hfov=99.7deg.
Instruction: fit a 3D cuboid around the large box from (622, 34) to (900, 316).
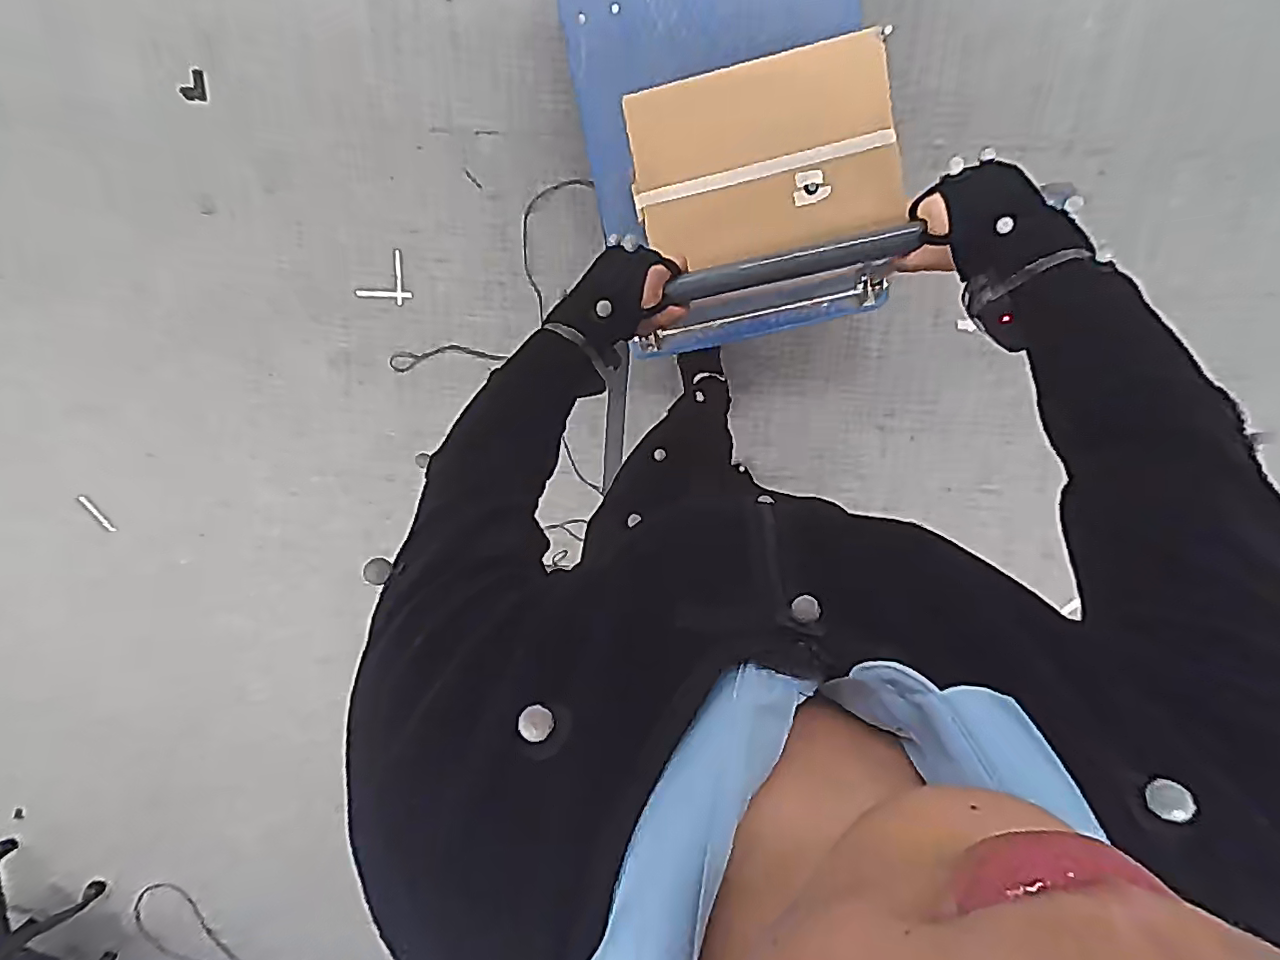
[{"bbox_3d":[0.205,-0.517,1.007,0.408,0.320,0.320,-10,102,6],"label":"large box"}]
